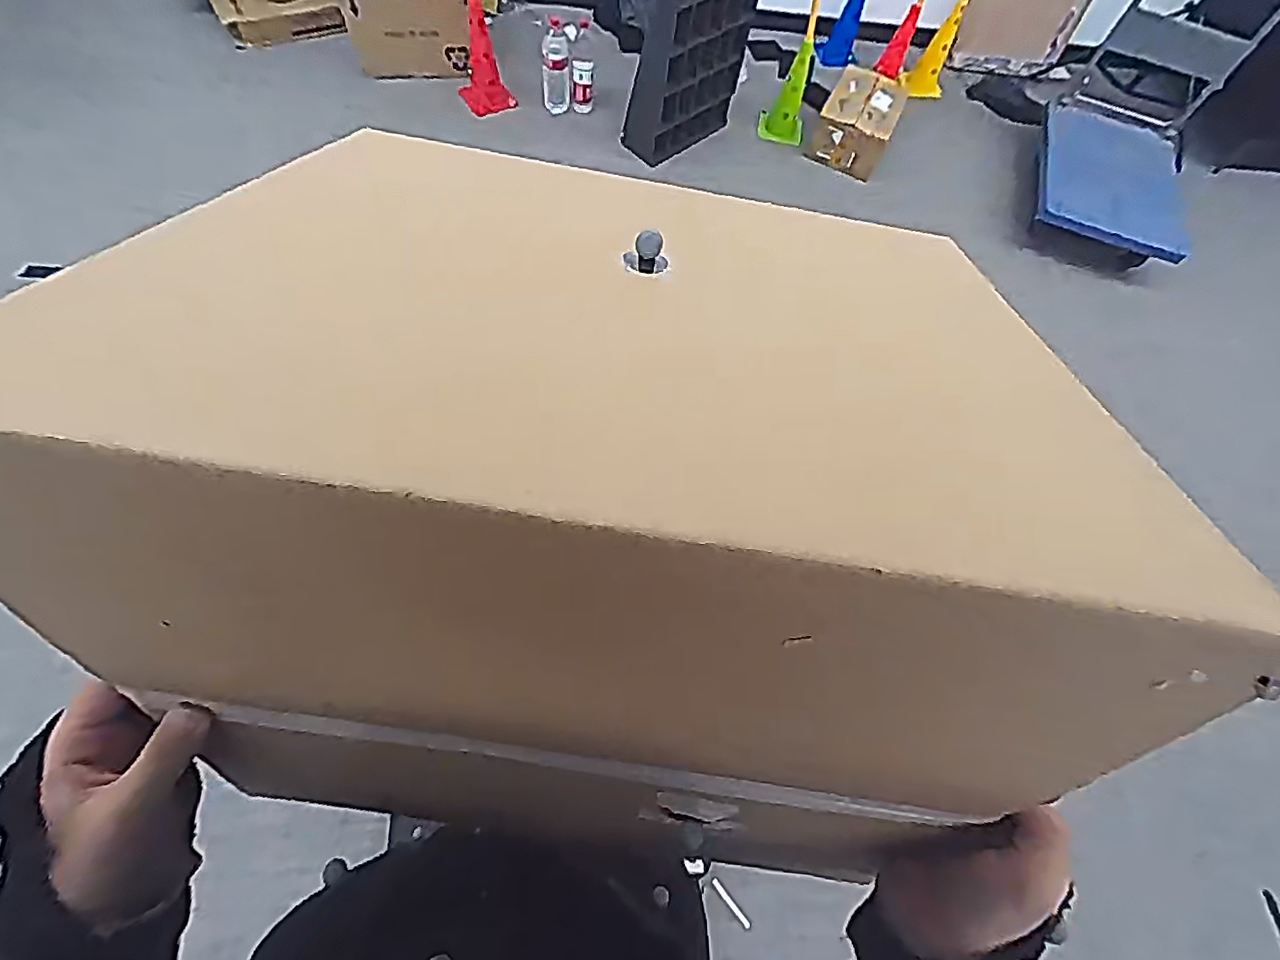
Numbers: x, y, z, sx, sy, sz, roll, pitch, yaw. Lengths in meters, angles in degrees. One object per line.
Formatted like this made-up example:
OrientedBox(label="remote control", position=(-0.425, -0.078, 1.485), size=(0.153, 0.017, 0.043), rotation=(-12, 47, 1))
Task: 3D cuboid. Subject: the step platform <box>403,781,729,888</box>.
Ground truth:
OrientedBox(label="step platform", position=(-0.148, 0.688, 1.195), size=(0.684, 0.204, 0.286), rotation=(8, 65, -4))
